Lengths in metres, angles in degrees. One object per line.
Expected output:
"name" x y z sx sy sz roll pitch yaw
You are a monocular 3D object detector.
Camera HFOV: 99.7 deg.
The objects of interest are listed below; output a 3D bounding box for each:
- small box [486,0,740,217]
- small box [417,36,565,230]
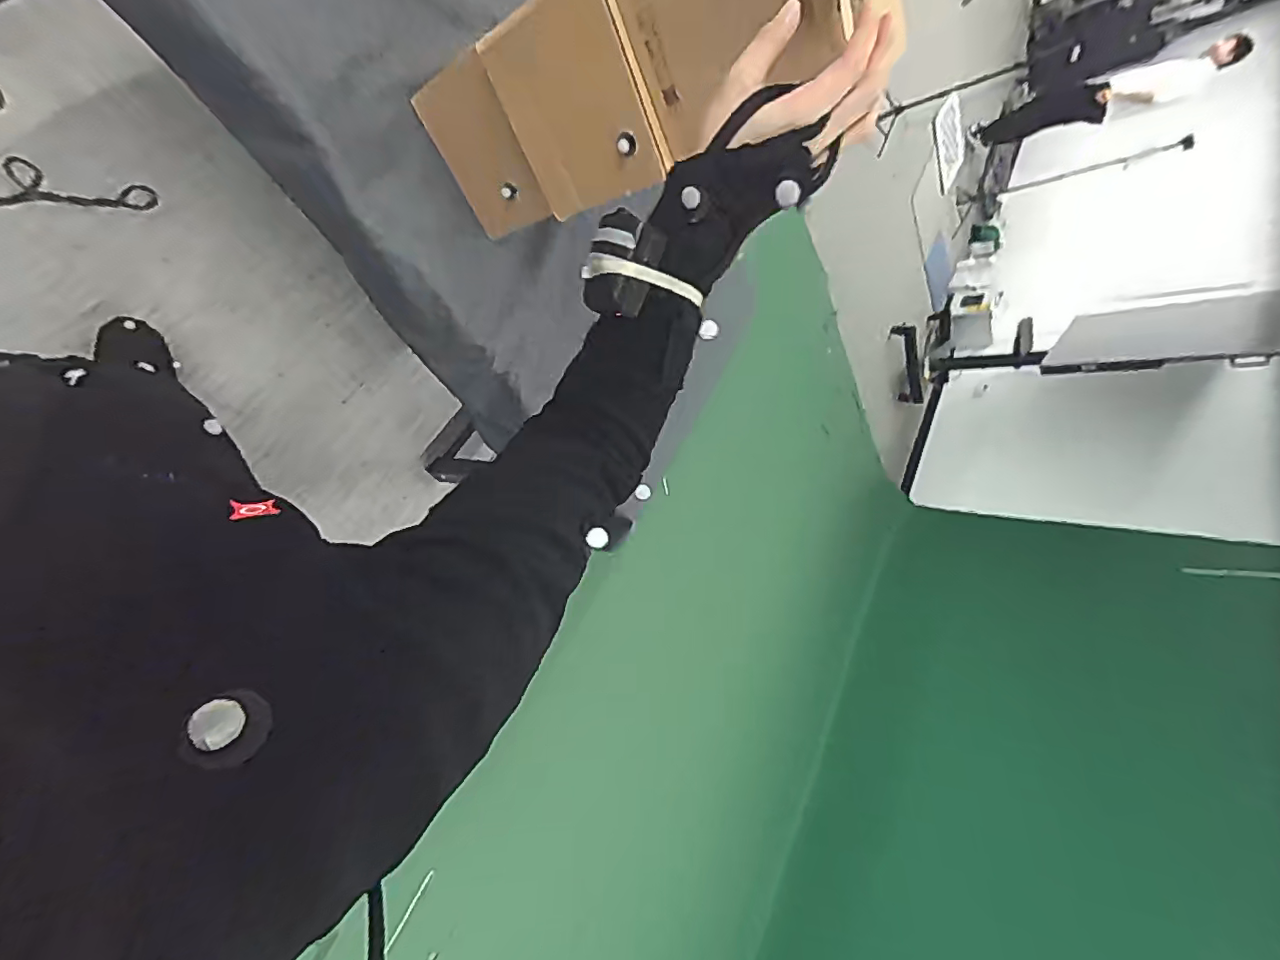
"small box" -0.025 -0.408 0.564 0.168 0.176 0.179 -51 130 -32
"small box" -0.136 -0.437 0.681 0.168 0.176 0.179 -53 129 -31
